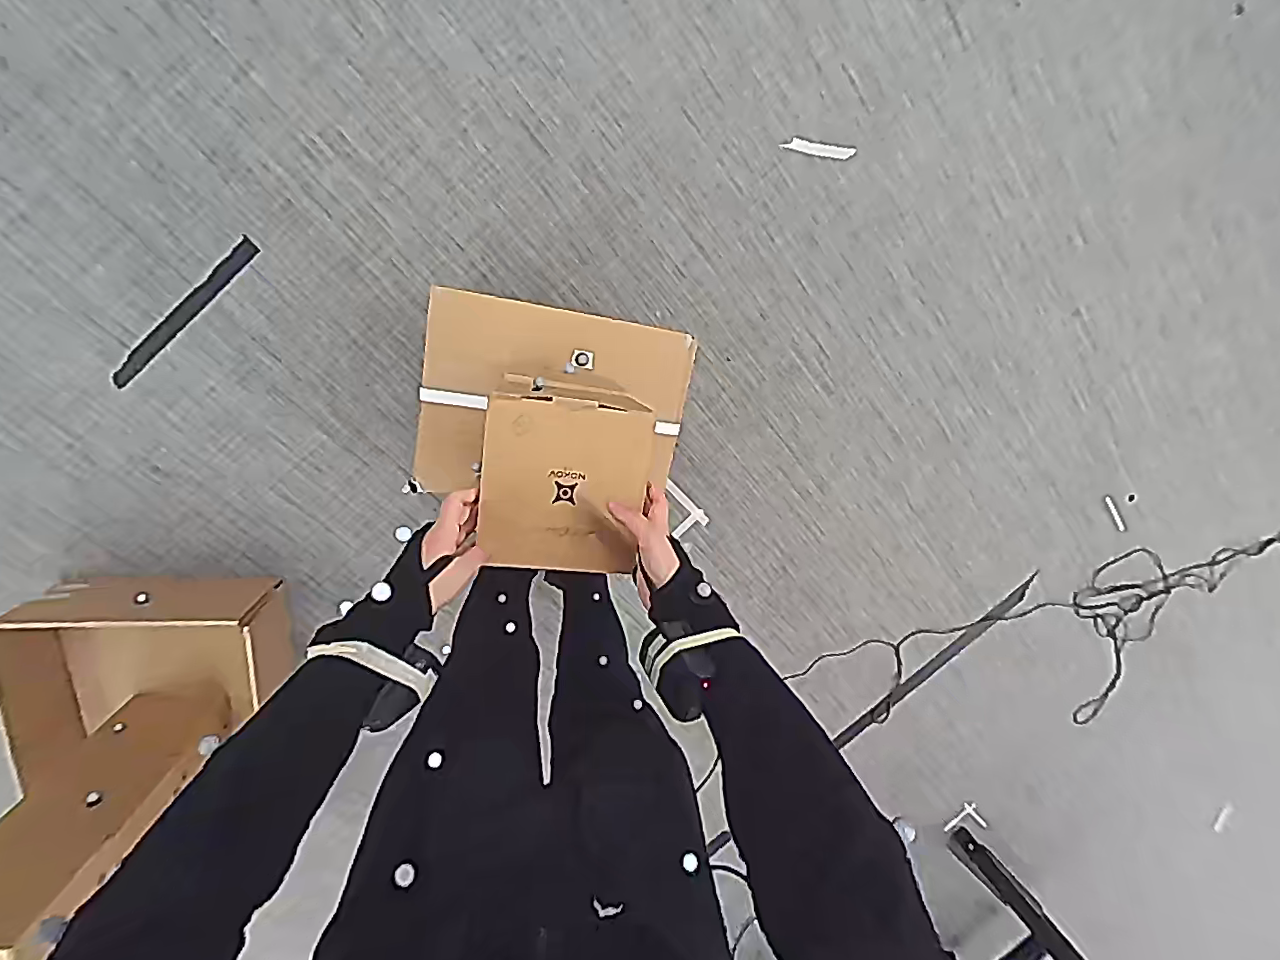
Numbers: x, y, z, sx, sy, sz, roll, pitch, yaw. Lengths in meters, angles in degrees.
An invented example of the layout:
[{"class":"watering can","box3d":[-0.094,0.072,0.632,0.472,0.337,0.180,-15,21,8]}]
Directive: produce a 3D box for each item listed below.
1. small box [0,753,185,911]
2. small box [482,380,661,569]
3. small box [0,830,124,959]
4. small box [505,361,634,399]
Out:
[{"class":"small box","box3d":[-0.908,0.587,0.912,0.179,0.176,0.168,6,104,-13]},{"class":"small box","box3d":[-0.083,-0.015,0.617,0.168,0.176,0.179,5,104,-12]},{"class":"small box","box3d":[-0.884,0.625,0.755,0.179,0.176,0.168,5,104,-13]},{"class":"small box","box3d":[-0.116,-0.065,0.776,0.168,0.176,0.179,7,104,-14]}]
